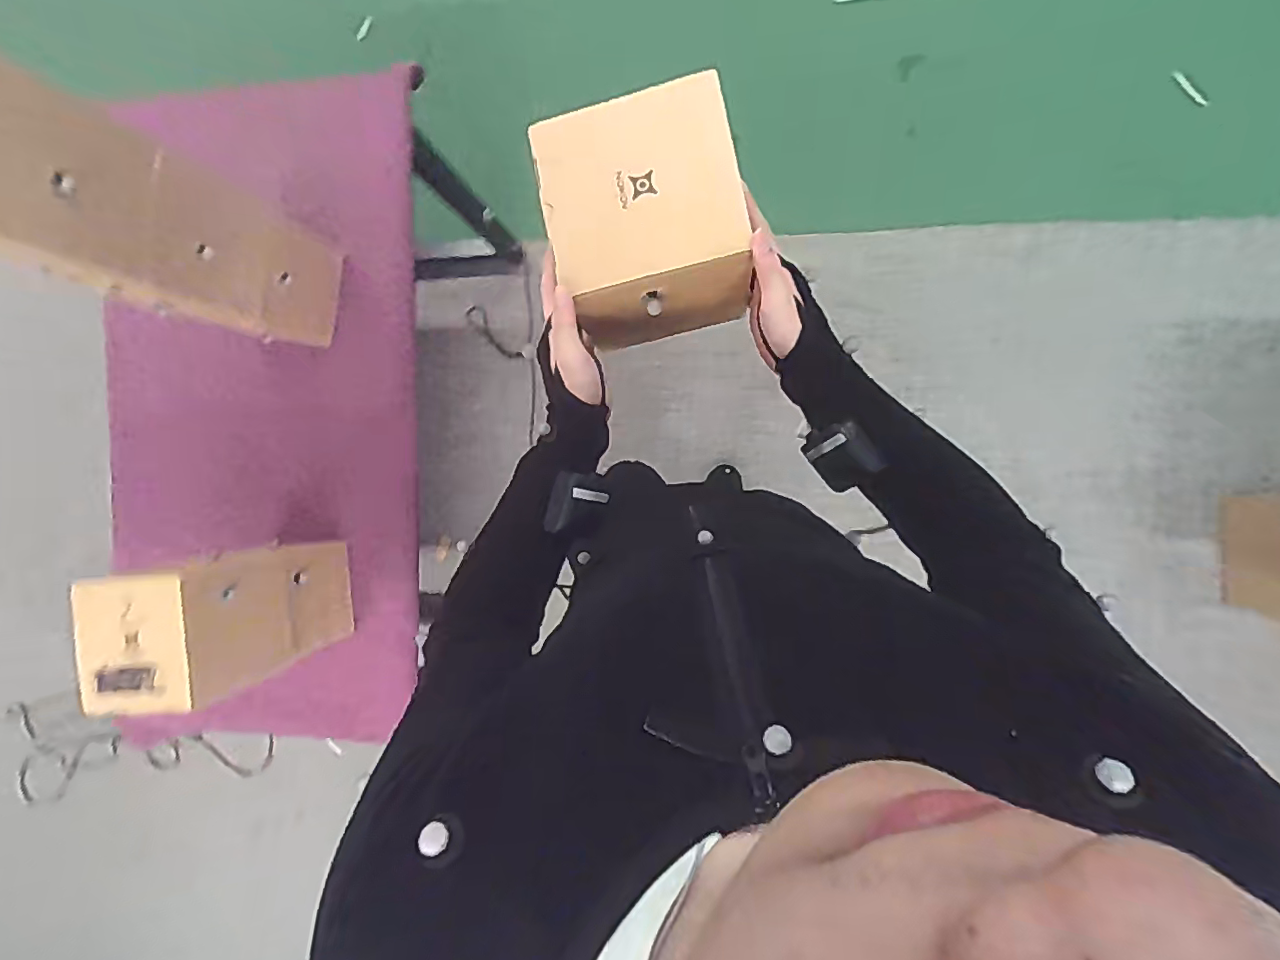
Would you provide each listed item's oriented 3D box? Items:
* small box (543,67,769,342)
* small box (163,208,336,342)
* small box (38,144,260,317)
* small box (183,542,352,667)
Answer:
[{"bbox_3d":[0.021,-0.253,0.544,0.179,0.176,0.168,-11,87,9],"label":"small box"},{"bbox_3d":[-0.644,-0.341,0.908,0.168,0.176,0.179,11,94,7],"label":"small box"},{"bbox_3d":[-0.665,-0.333,0.746,0.168,0.176,0.179,8,95,7],"label":"small box"},{"bbox_3d":[-0.627,0.203,0.929,0.168,0.176,0.179,-5,92,8],"label":"small box"}]
